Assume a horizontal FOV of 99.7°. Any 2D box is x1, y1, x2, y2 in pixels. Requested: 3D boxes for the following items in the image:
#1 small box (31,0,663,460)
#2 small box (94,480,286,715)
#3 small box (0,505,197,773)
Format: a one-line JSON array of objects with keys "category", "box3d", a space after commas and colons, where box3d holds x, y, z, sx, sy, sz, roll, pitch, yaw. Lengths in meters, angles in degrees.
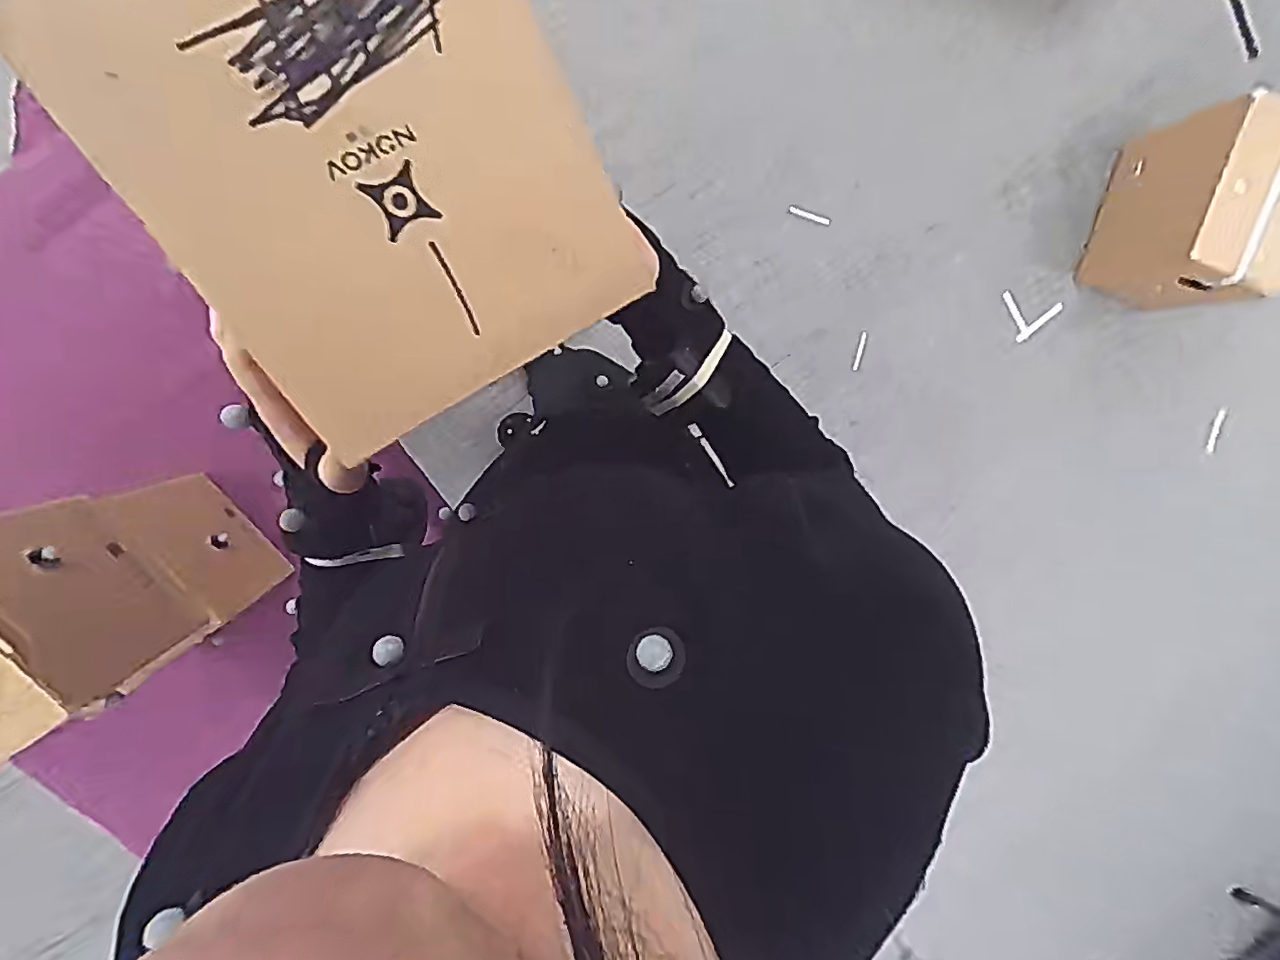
[{"category": "small box", "box3d": [-0.119, -0.140, 0.289, 0.168, 0.176, 0.179, -32, 116, -9]}, {"category": "small box", "box3d": [-0.557, 0.120, 0.629, 0.179, 0.176, 0.168, -36, 103, 0]}, {"category": "small box", "box3d": [-0.542, 0.143, 0.468, 0.179, 0.176, 0.168, -35, 102, 0]}]
